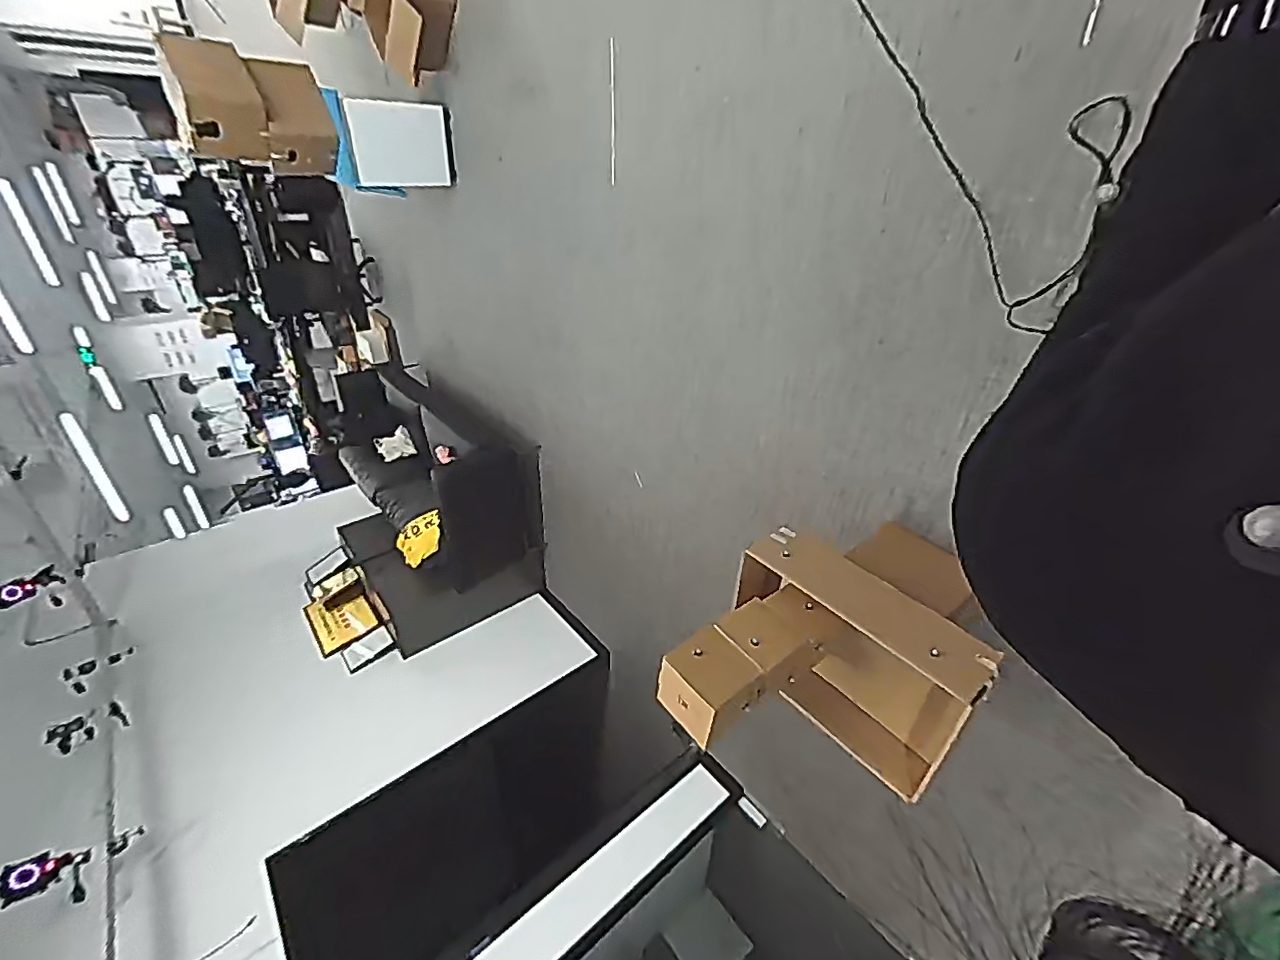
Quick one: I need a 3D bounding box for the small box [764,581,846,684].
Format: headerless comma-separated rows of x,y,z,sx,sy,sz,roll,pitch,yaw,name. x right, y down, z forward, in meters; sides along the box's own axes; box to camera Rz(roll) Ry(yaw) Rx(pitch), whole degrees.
0.430,0.407,1.467,0.168,0.176,0.179,40,136,37,small box

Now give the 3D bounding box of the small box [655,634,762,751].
0.162,0.498,1.302,0.179,0.176,0.168,38,135,38,small box

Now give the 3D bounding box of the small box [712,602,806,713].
0.294,0.445,1.384,0.179,0.176,0.168,39,135,39,small box
